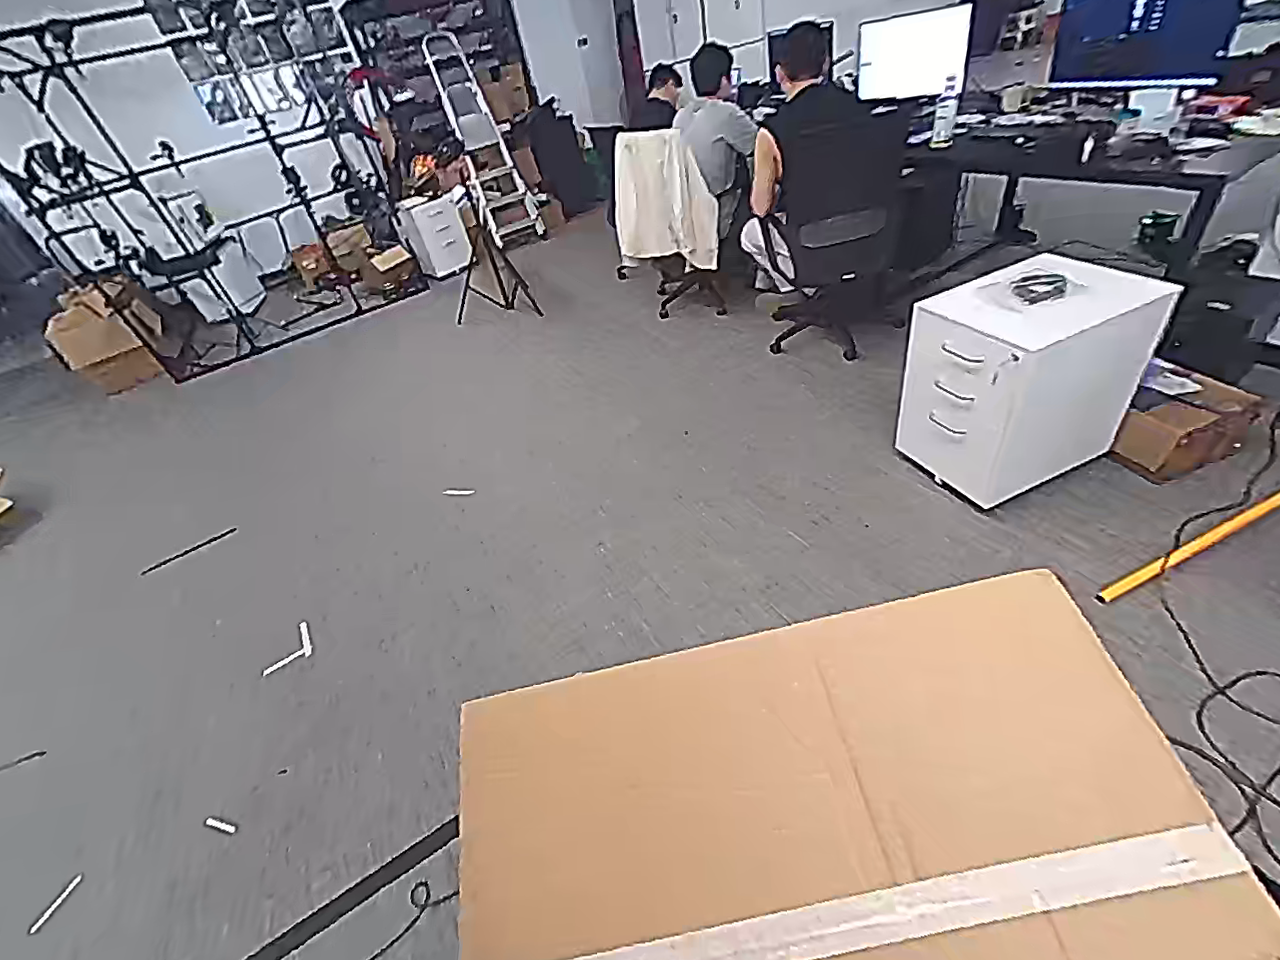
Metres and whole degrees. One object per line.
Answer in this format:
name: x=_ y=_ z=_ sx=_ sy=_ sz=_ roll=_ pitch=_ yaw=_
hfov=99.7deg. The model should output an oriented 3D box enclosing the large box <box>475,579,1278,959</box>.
large box: x=0.127 y=0.319 z=0.413 sx=0.408 sy=0.320 sz=0.320 roll=-14 pitch=57 yaw=3
